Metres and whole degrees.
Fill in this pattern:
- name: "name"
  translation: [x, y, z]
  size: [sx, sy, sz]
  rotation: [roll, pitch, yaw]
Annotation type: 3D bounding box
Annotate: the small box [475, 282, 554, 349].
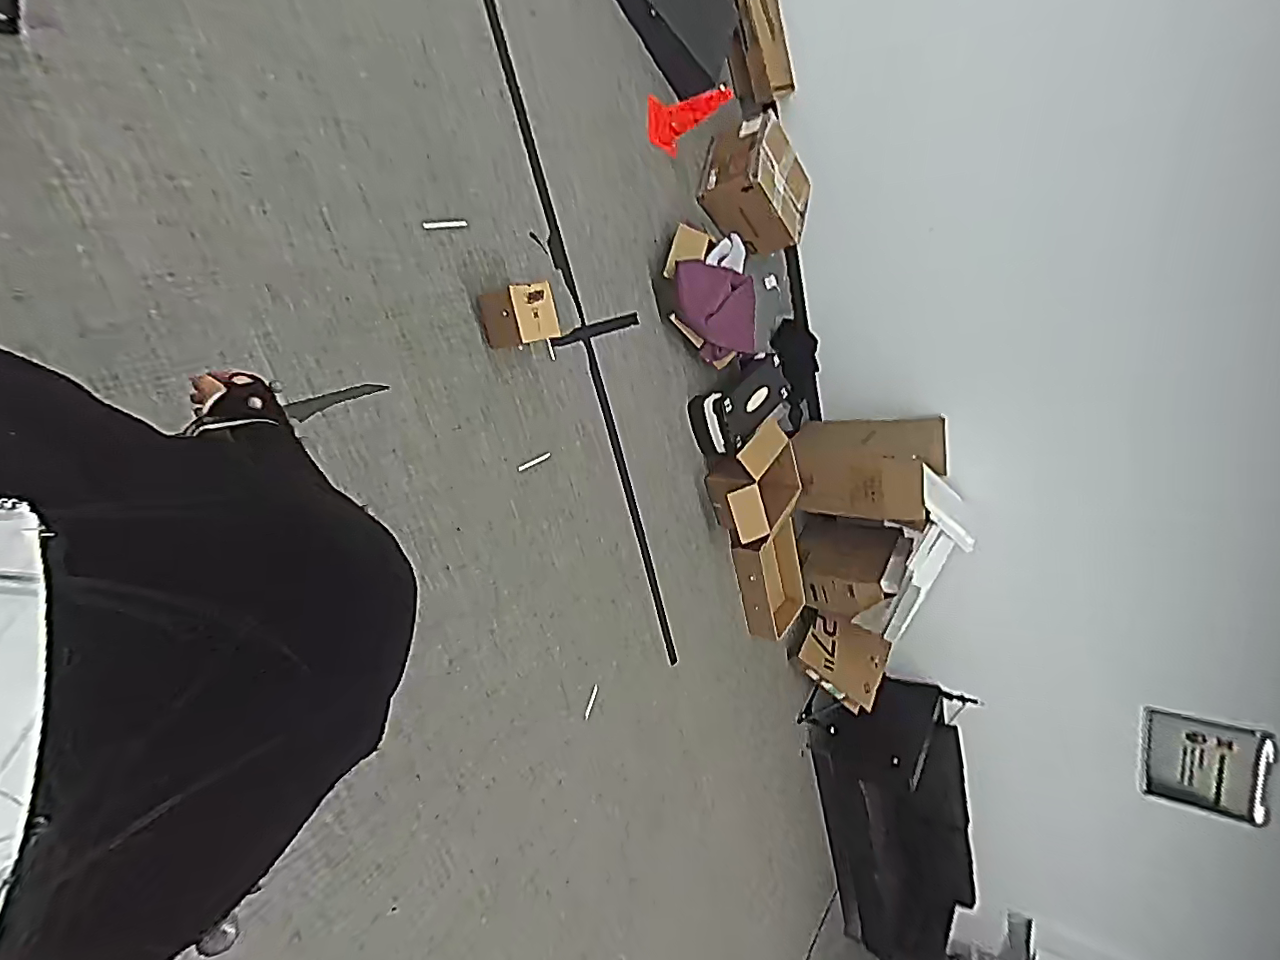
- name: "small box"
  translation: [-0.412, -0.537, 1.765]
  size: [0.168, 0.176, 0.179]
  rotation: [-28, 114, -45]
